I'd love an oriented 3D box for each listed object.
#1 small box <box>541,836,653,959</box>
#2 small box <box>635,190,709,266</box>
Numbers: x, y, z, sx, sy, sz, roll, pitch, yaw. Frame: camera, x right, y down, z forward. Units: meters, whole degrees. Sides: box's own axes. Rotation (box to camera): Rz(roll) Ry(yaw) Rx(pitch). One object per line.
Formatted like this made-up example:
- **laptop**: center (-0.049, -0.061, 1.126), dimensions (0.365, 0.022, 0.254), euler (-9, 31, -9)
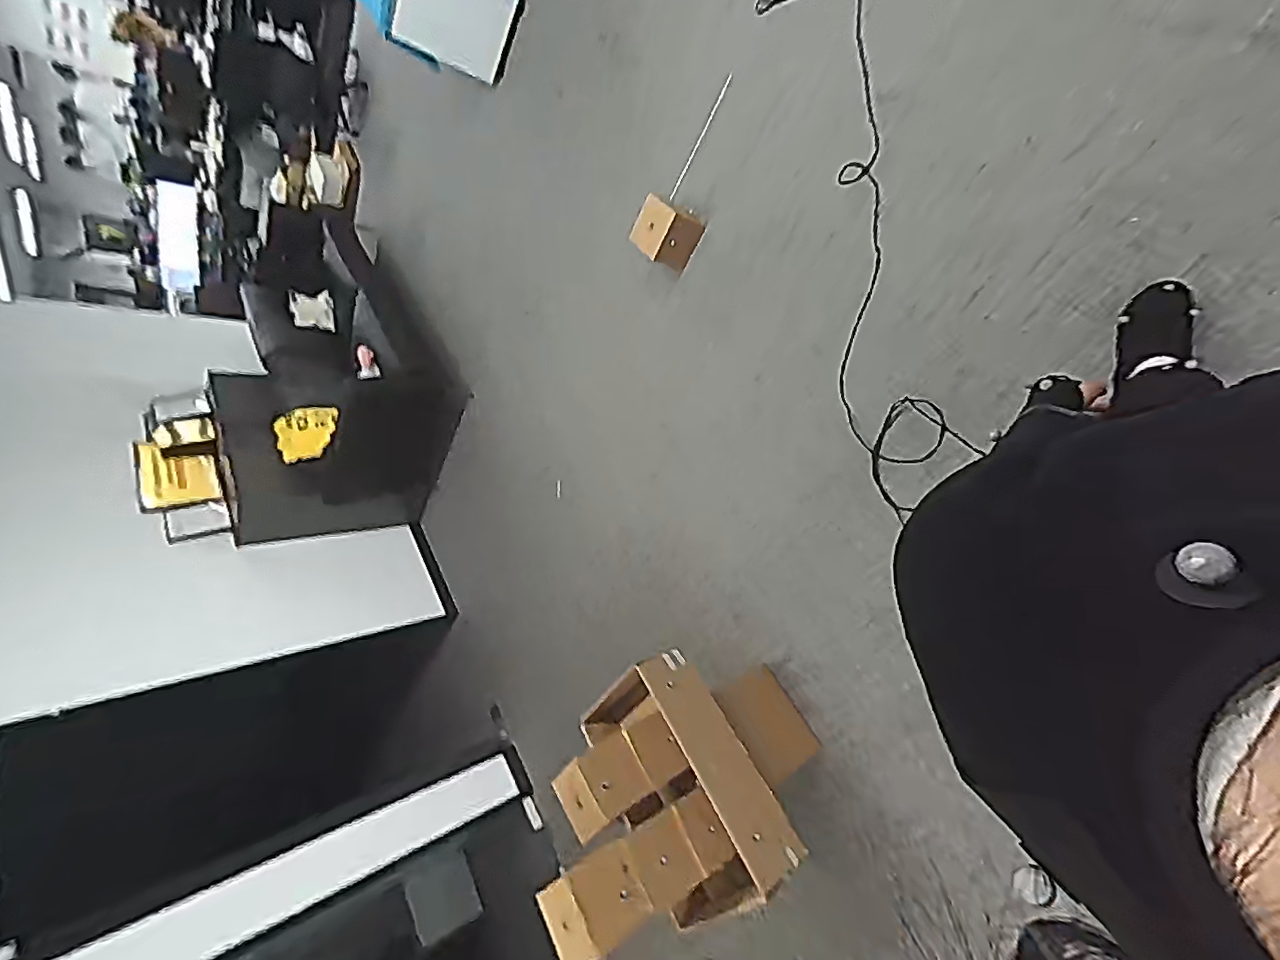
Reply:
- **small box**: center (-0.100, 0.971, 1.253), dimensions (0.168, 0.176, 0.179), euler (55, 129, 29)
- **small box**: center (0.118, -0.898, 1.944), dimensions (0.168, 0.176, 0.179), euler (54, 129, 29)
